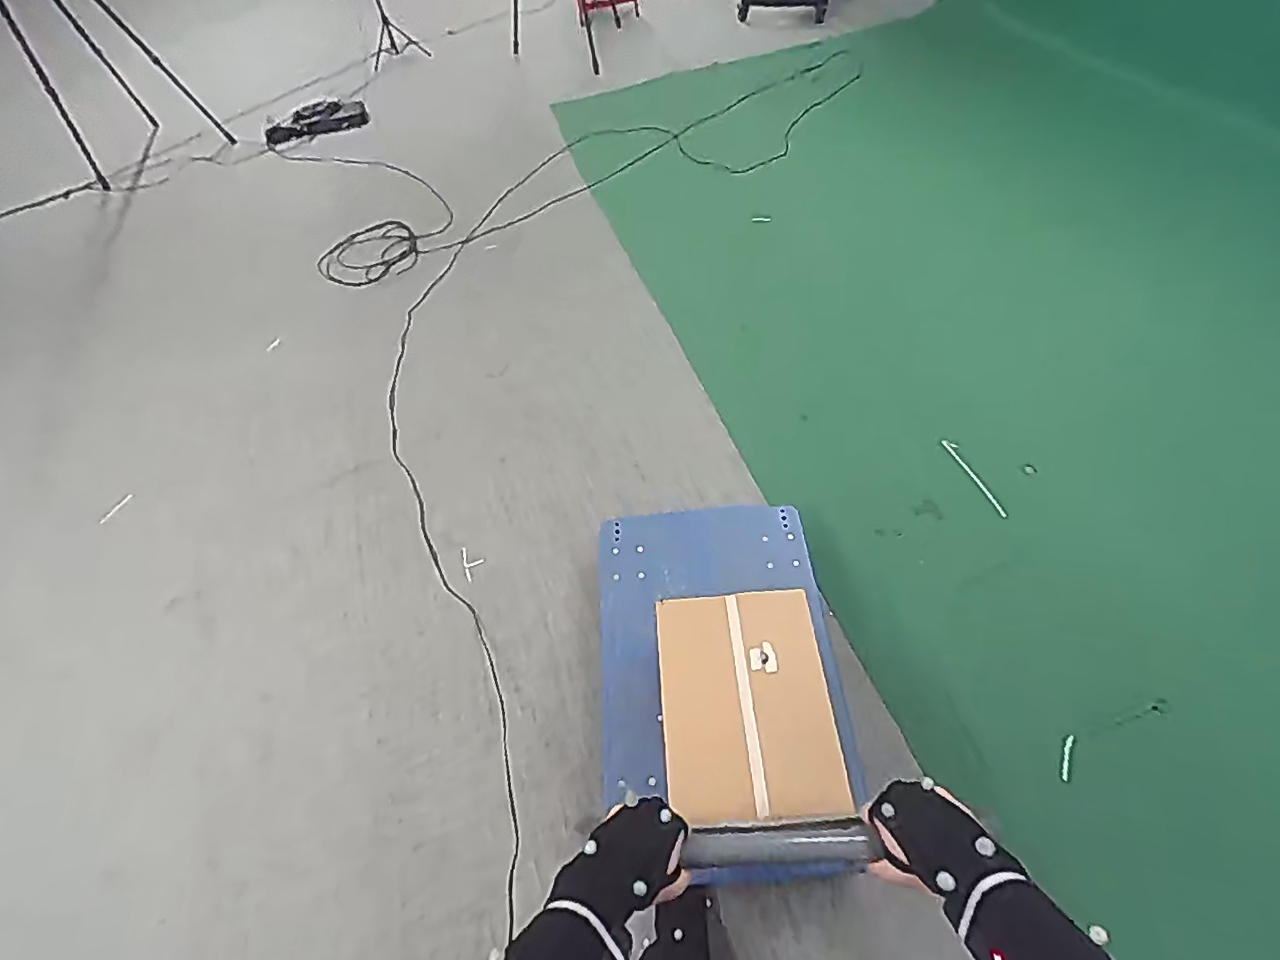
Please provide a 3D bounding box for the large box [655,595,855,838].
[{"bbox_3d":[0.211,0.502,1.140,0.320,0.320,0.408,-5,55,2],"label":"large box"}]
